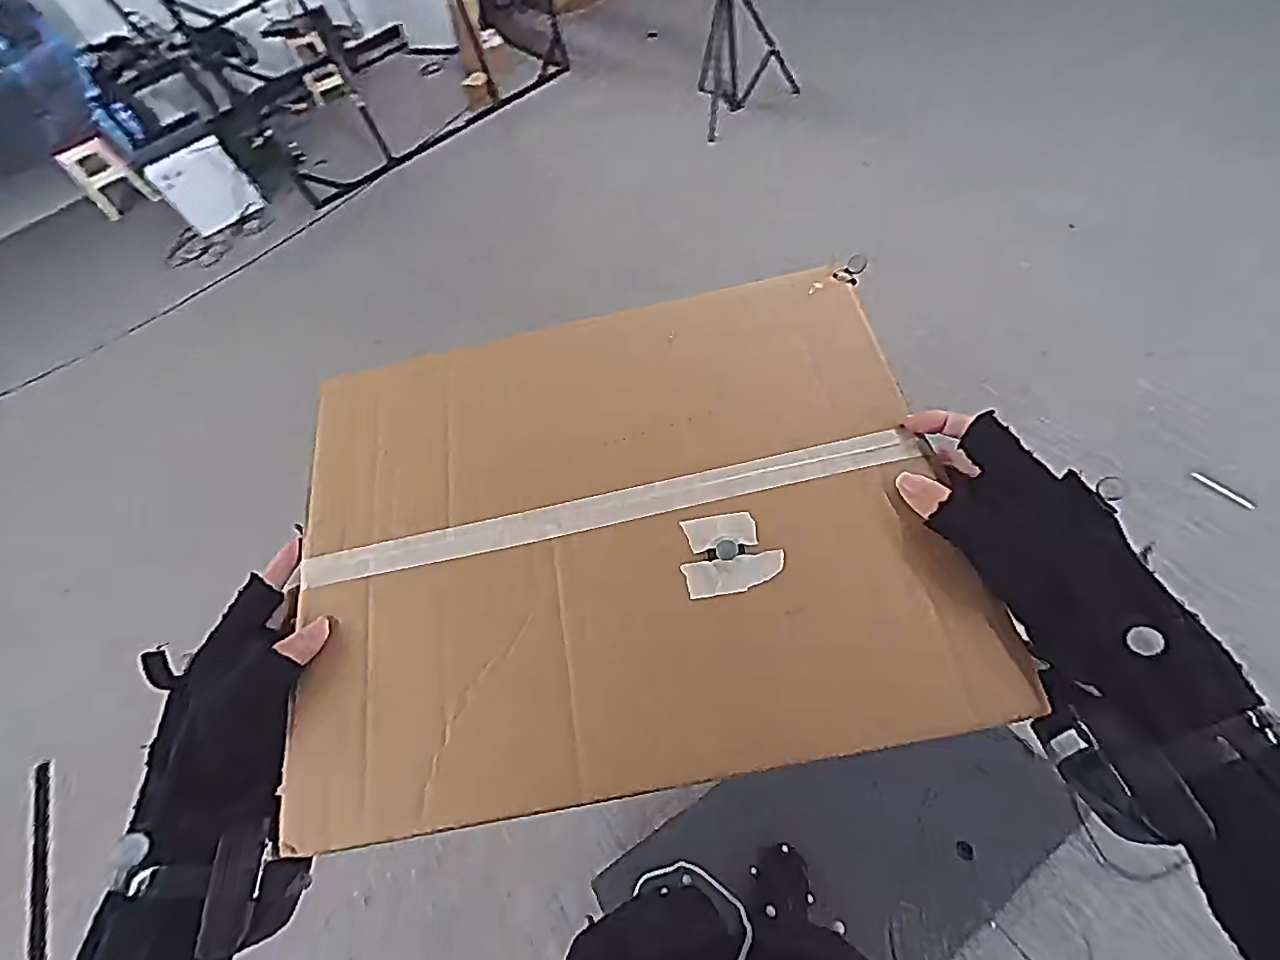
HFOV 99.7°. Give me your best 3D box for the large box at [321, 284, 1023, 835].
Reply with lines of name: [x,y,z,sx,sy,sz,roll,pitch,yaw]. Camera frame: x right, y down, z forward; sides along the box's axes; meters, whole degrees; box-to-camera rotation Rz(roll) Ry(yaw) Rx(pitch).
large box: [0.005,0.085,0.493,0.408,0.320,0.320,-11,65,2]
